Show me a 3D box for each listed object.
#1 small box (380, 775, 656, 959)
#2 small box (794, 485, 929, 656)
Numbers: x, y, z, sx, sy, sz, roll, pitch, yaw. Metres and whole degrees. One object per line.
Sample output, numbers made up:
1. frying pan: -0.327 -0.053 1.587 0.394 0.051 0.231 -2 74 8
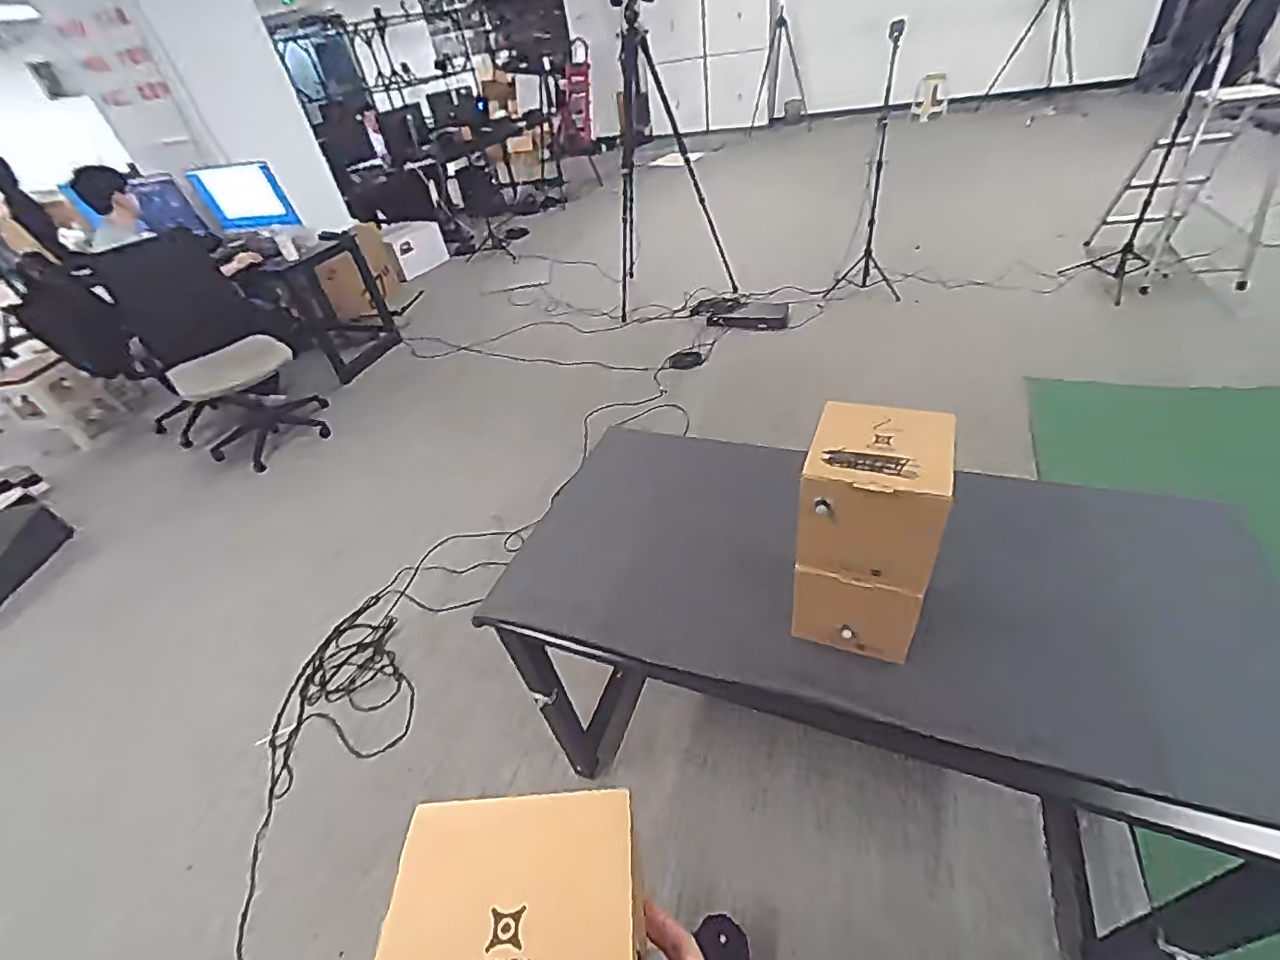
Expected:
1. small box: -0.074 0.346 0.387 0.168 0.176 0.179 -4 33 0
2. small box: 0.337 0.136 0.837 0.168 0.176 0.179 9 43 23
